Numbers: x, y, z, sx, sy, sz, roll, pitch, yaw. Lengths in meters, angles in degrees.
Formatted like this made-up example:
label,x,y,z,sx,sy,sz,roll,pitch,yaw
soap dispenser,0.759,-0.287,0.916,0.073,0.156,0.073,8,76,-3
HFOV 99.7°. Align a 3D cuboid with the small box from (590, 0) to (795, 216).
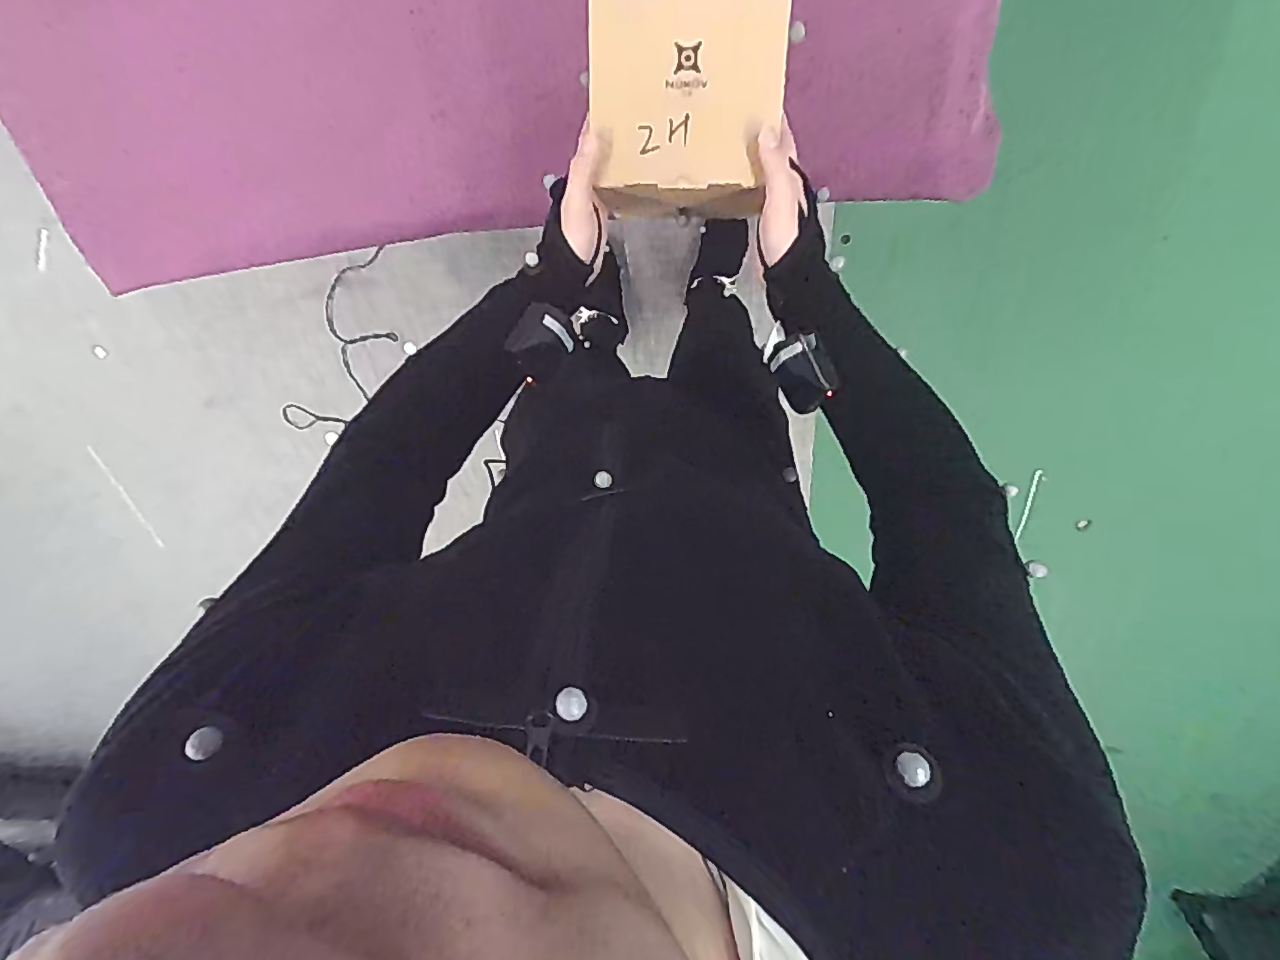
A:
label,x,y,z,sx,sy,sz,roll,pitch,yaw
small box,0.047,-0.365,0.519,0.168,0.176,0.179,3,108,6
